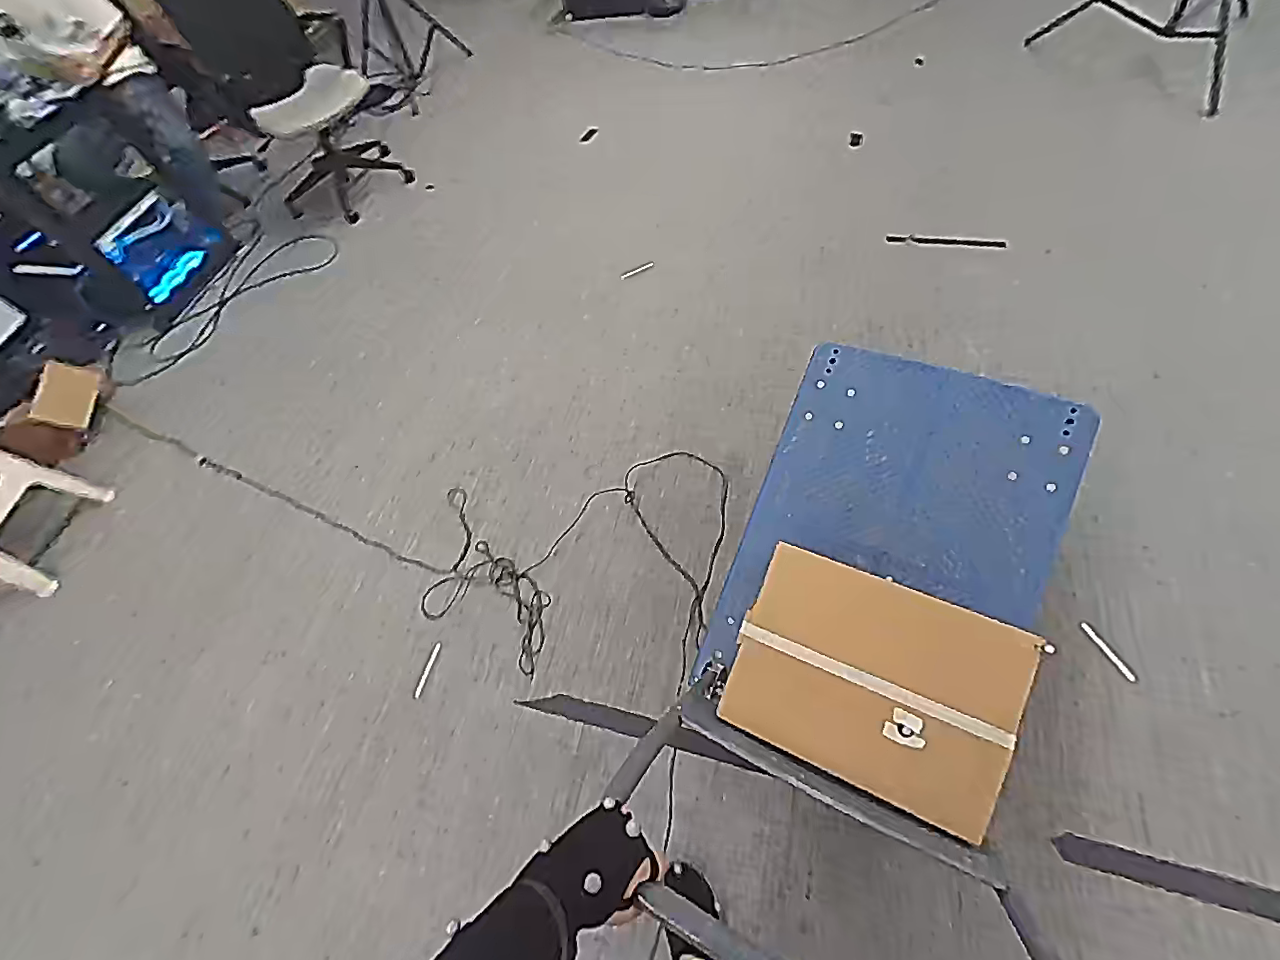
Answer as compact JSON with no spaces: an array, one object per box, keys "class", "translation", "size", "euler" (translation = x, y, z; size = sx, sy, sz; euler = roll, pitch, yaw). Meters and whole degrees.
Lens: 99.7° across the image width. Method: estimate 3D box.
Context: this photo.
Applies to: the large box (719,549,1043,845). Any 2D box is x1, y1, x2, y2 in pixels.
[{"class":"large box","translation":[0.395,0.342,0.973],"size":[0.408,0.320,0.320],"euler":[20,86,19]}]
